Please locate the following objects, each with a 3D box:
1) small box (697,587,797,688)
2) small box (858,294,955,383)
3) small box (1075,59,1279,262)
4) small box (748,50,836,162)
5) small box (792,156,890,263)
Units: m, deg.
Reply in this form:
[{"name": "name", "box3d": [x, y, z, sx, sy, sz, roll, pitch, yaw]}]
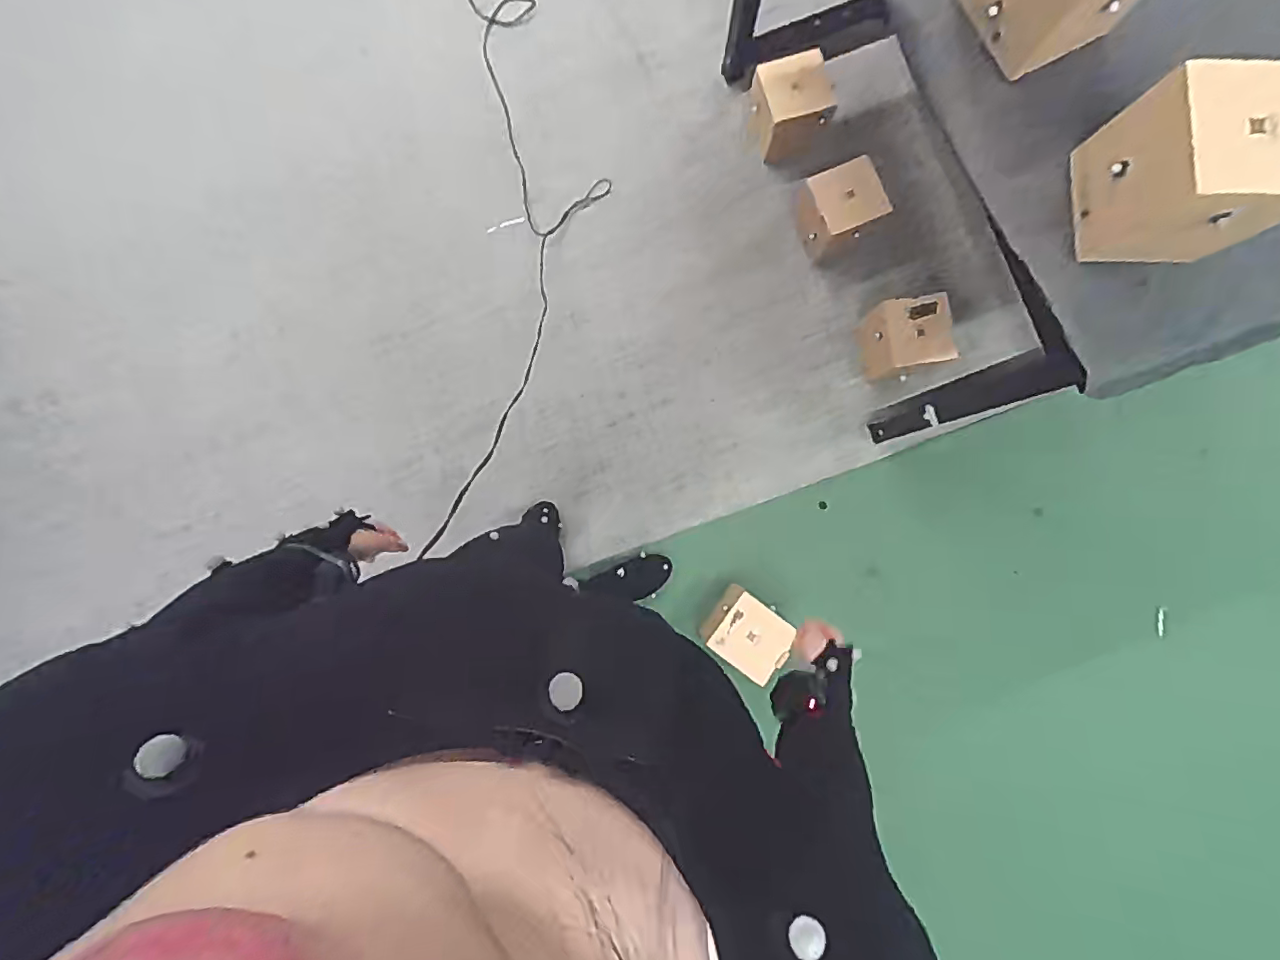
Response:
[{"name": "small box", "box3d": [0.267, 0.393, 1.392, 0.179, 0.176, 0.168, 37, 87, 1]}, {"name": "small box", "box3d": [0.698, -0.370, 1.436, 0.168, 0.176, 0.179, -8, 88, 0]}, {"name": "small box", "box3d": [0.711, -0.401, 0.705, 0.179, 0.176, 0.168, 0, 87, -3]}, {"name": "small box", "box3d": [0.403, -1.011, 1.477, 0.179, 0.176, 0.168, -17, 86, -1]}, {"name": "small box", "box3d": [0.528, -0.718, 1.457, 0.179, 0.176, 0.168, -23, 87, -2]}]
